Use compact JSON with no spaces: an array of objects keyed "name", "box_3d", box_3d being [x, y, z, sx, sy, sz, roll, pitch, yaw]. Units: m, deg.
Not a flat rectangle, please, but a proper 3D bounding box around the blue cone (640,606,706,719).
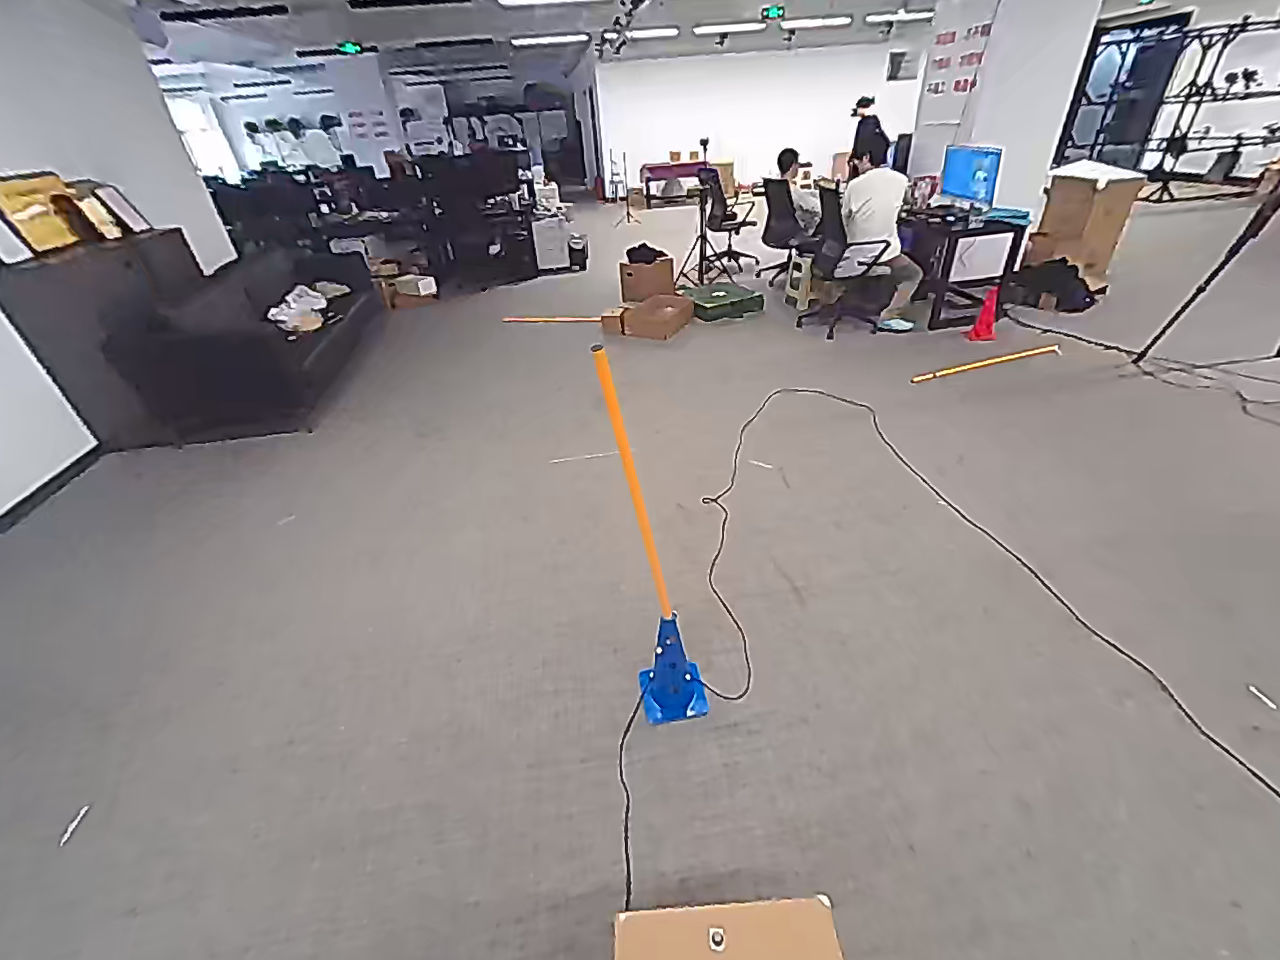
[{"name":"blue cone","box_3d":[0.090,0.534,1.641,0.193,0.380,0.192,-11,34,-6]}]
